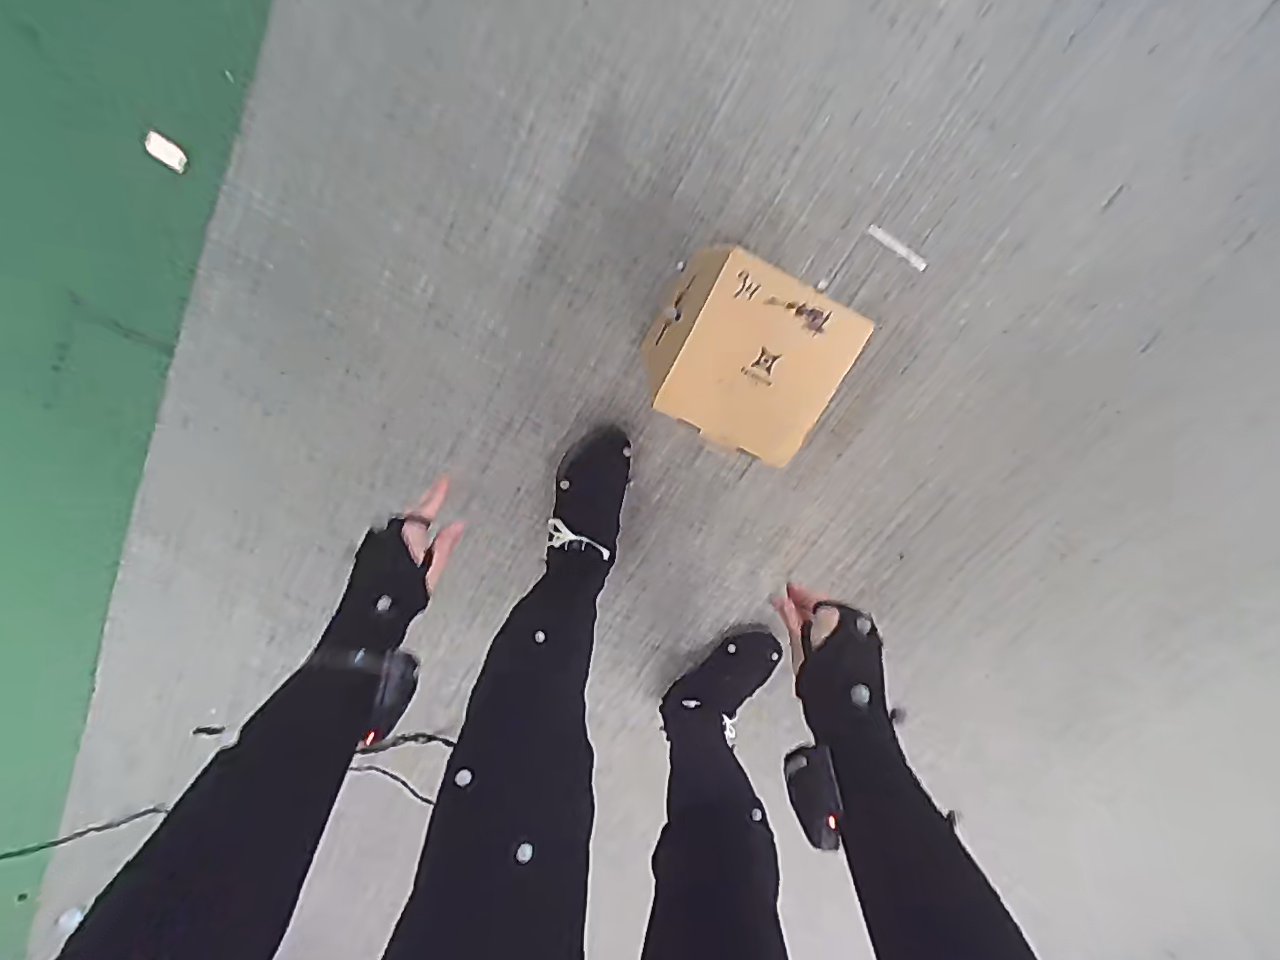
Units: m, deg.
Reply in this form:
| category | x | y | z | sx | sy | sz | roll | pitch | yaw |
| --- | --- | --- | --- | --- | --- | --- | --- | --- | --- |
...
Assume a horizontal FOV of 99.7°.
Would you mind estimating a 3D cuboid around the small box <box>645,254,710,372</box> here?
| category | x | y | z | sx | sy | sz | roll | pitch | yaw |
| --- | --- | --- | --- | --- | --- | --- | --- | --- | --- |
| small box | 0.118 | -0.203 | 0.778 | 0.179 | 0.176 | 0.168 | 26 | 110 | -13 |

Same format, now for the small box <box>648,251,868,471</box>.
| category | x | y | z | sx | sy | sz | roll | pitch | yaw |
| --- | --- | --- | --- | --- | --- | --- | --- | --- | --- |
| small box | 0.118 | -0.143 | 0.625 | 0.168 | 0.176 | 0.179 | 24 | 111 | -11 |
